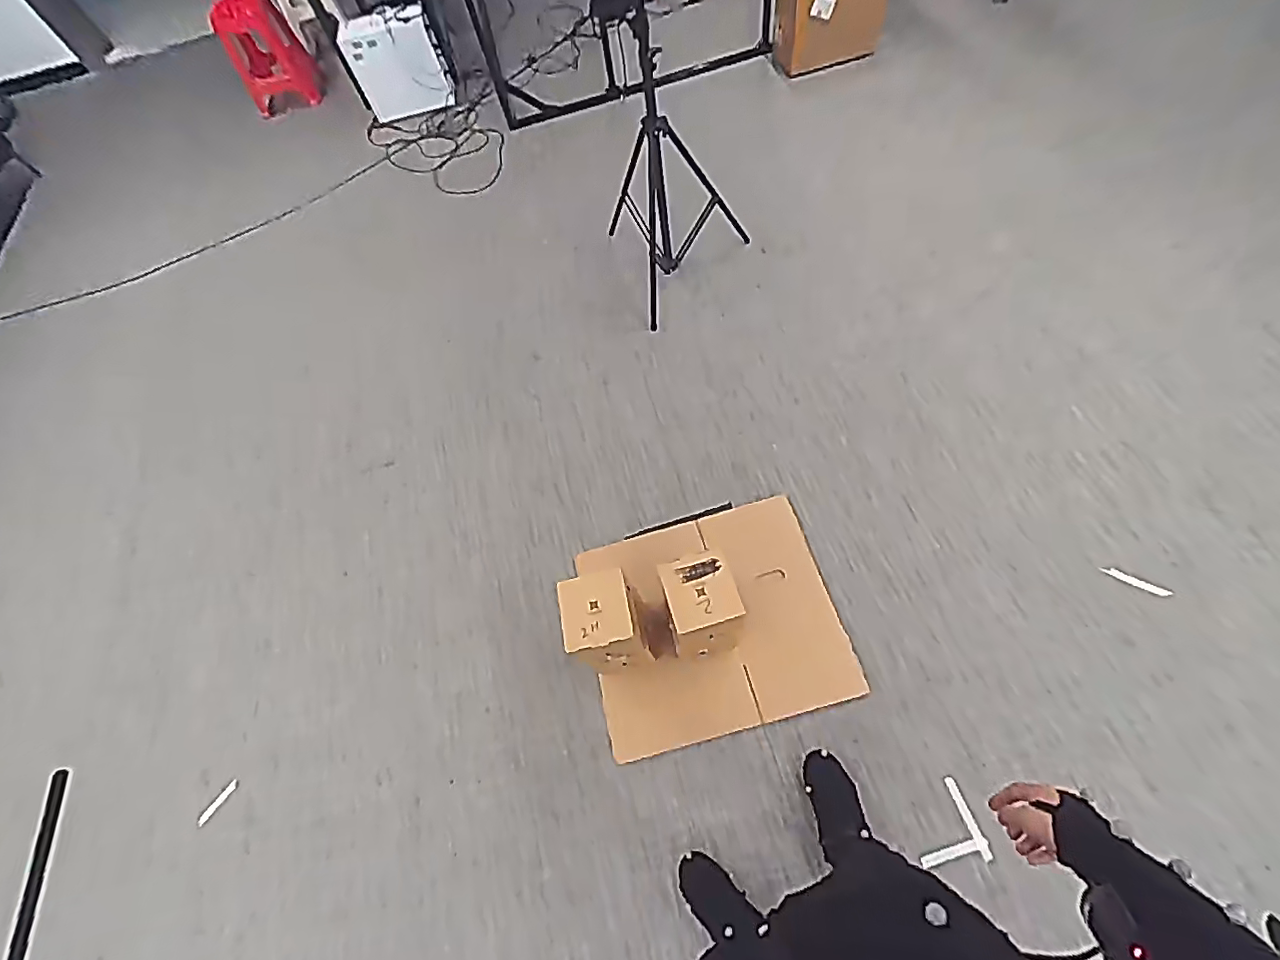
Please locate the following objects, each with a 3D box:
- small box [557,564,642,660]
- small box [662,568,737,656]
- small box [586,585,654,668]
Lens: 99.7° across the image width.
[{"bbox_3d":[-0.098,0.332,1.342,0.168,0.176,0.179,-14,62,3],"label":"small box"},{"bbox_3d":[0.161,0.363,1.474,0.168,0.176,0.179,-13,62,2],"label":"small box"},{"bbox_3d":[-0.063,0.410,1.485,0.168,0.176,0.179,-14,63,2],"label":"small box"}]
